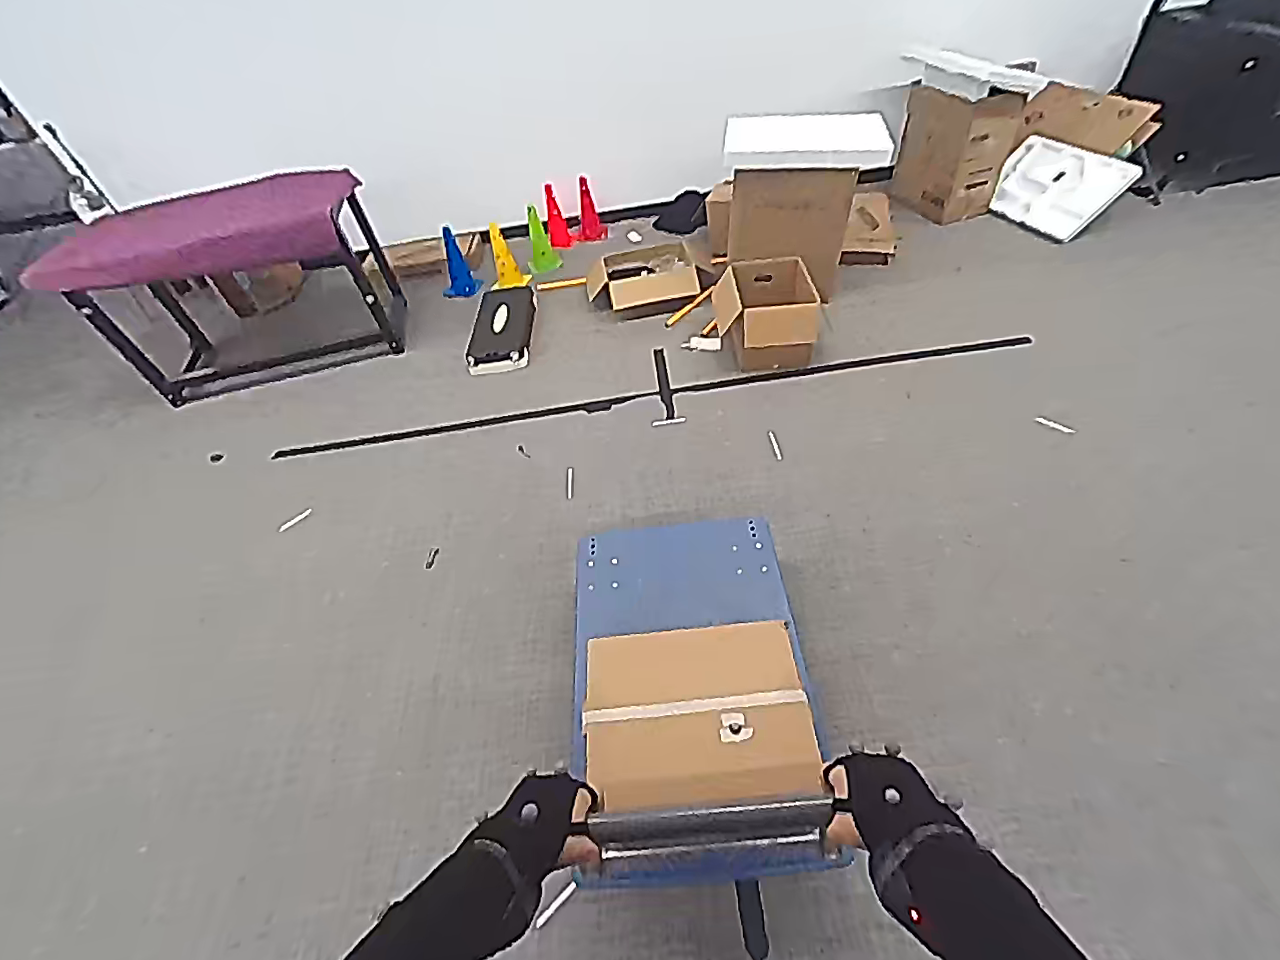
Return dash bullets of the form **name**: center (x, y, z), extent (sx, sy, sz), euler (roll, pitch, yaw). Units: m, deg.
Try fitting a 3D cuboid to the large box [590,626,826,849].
- **large box**: center (0.118, 0.534, 1.118), extent (0.408, 0.320, 0.320), euler (-6, 48, 1)
